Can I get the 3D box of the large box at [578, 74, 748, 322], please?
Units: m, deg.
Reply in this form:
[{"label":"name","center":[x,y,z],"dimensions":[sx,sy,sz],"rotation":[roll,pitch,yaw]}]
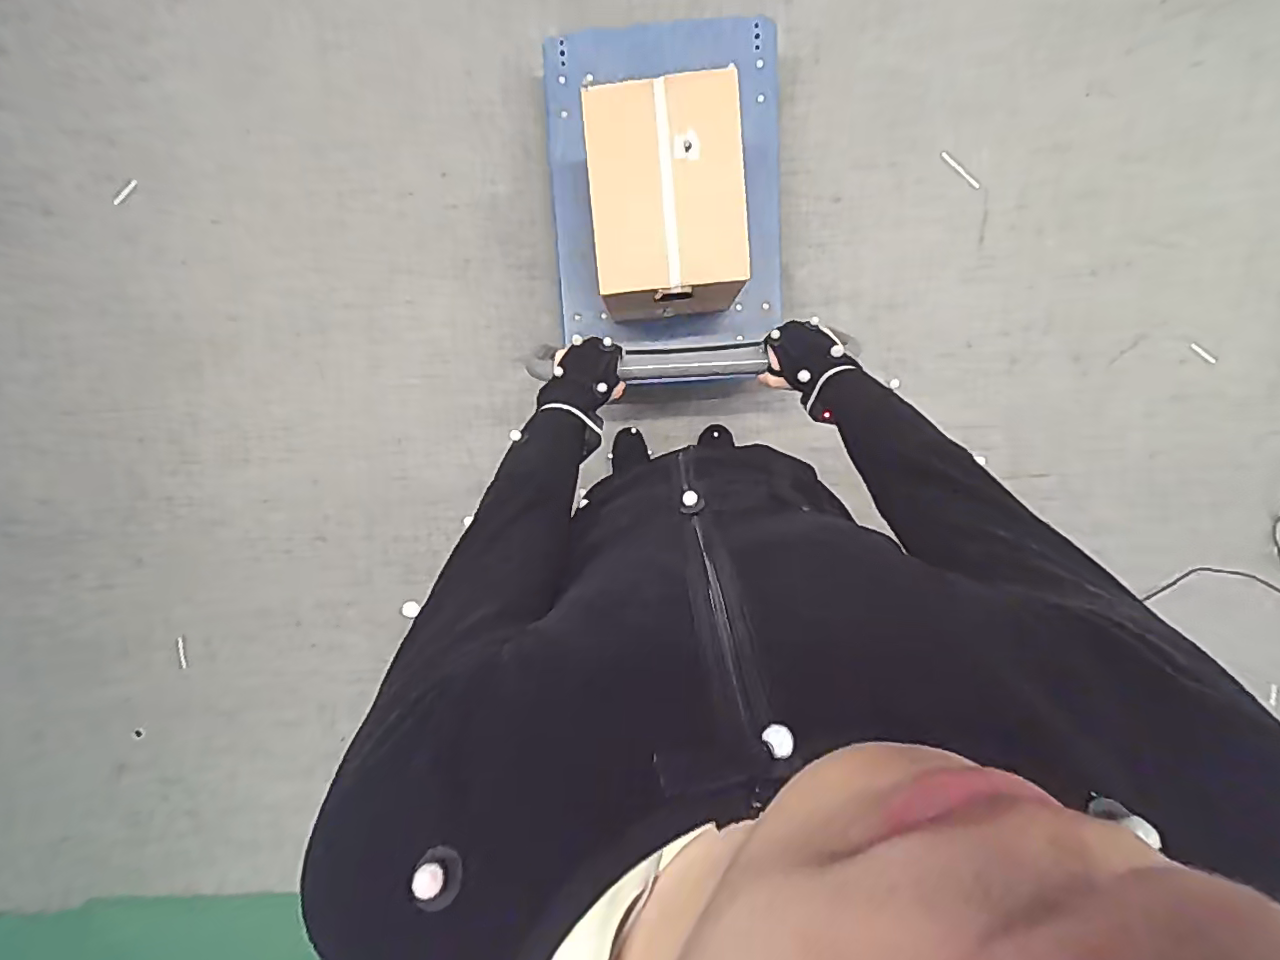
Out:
[{"label":"large box","center":[0.057,-0.610,1.246],"dimensions":[0.320,0.320,0.408],"rotation":[-5,96,3]}]
